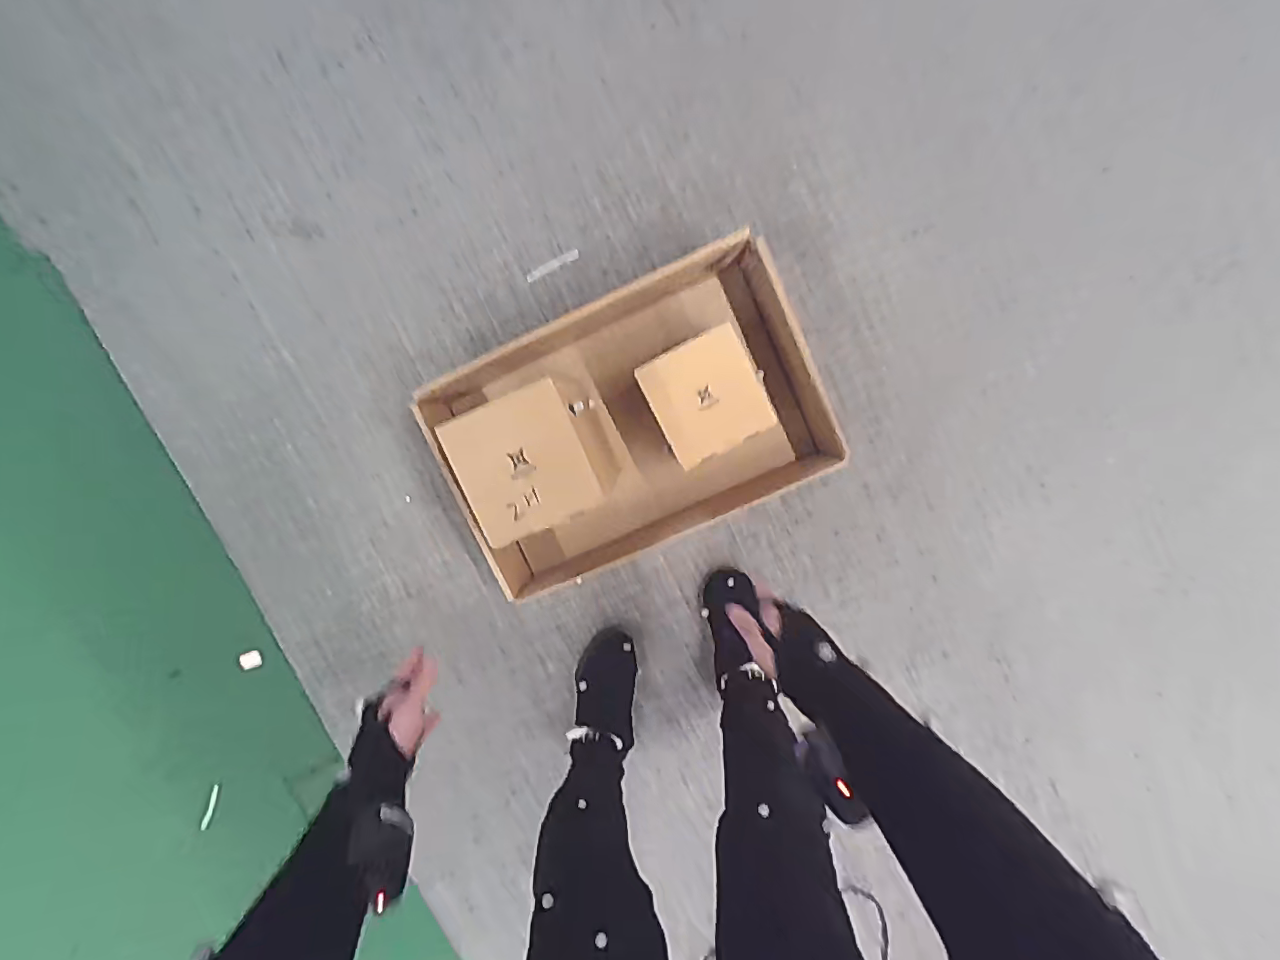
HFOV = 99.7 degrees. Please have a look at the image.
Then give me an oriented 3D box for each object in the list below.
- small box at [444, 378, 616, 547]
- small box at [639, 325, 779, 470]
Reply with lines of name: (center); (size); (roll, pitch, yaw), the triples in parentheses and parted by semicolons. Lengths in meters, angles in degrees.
small box: (-0.144, -0.029, 0.771); (0.168, 0.176, 0.179); (-23, 96, 5)
small box: (0.108, -0.136, 0.913); (0.168, 0.176, 0.179); (-27, 97, 6)
